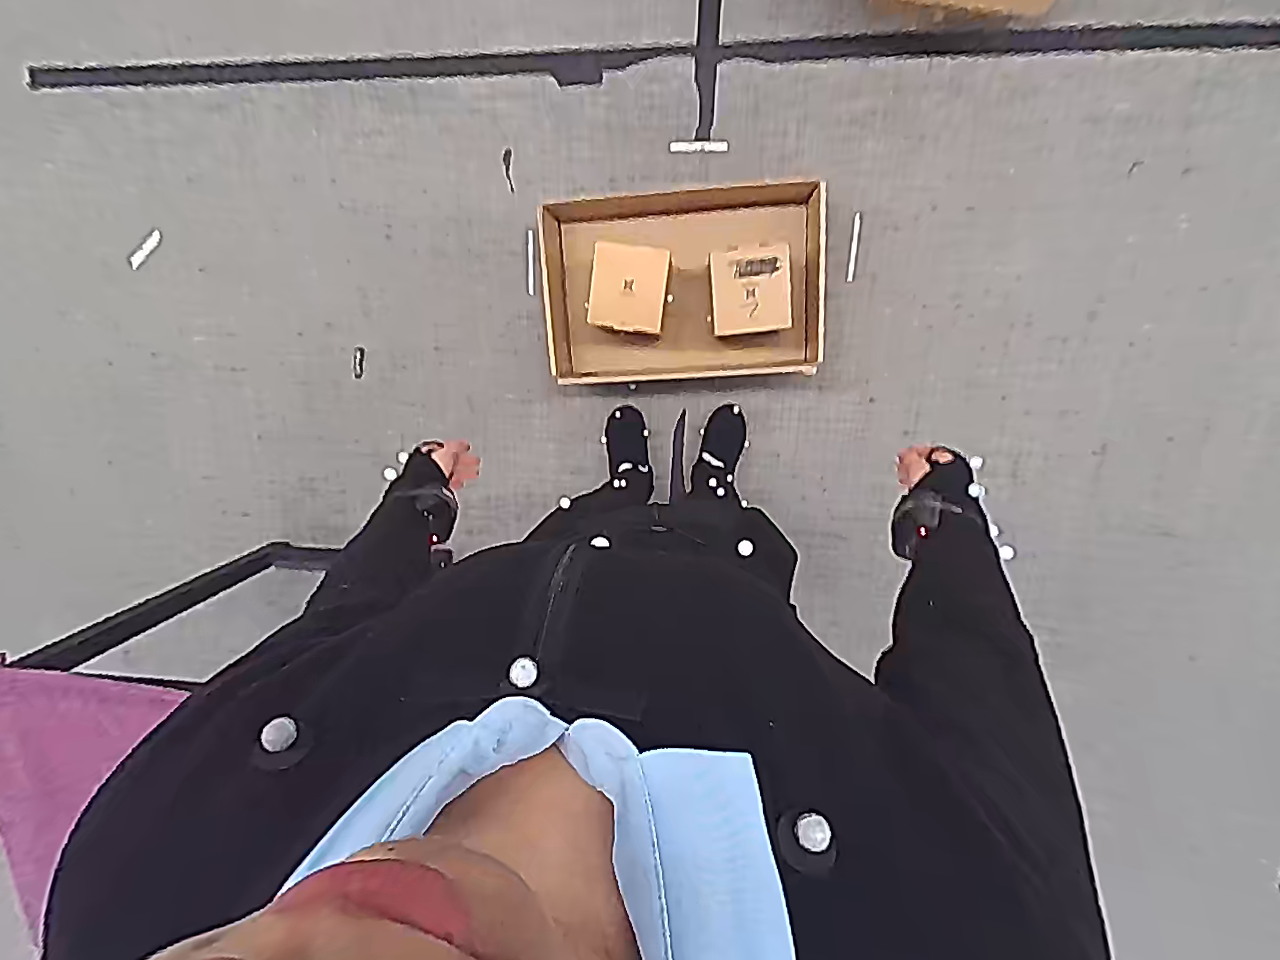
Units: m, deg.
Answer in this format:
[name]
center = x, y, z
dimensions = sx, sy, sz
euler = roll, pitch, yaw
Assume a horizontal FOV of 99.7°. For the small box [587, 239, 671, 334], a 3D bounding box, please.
[small box]
center = -0.021, -0.439, 1.251
dimensions = 0.168, 0.176, 0.179
euler = 8, 104, 3
